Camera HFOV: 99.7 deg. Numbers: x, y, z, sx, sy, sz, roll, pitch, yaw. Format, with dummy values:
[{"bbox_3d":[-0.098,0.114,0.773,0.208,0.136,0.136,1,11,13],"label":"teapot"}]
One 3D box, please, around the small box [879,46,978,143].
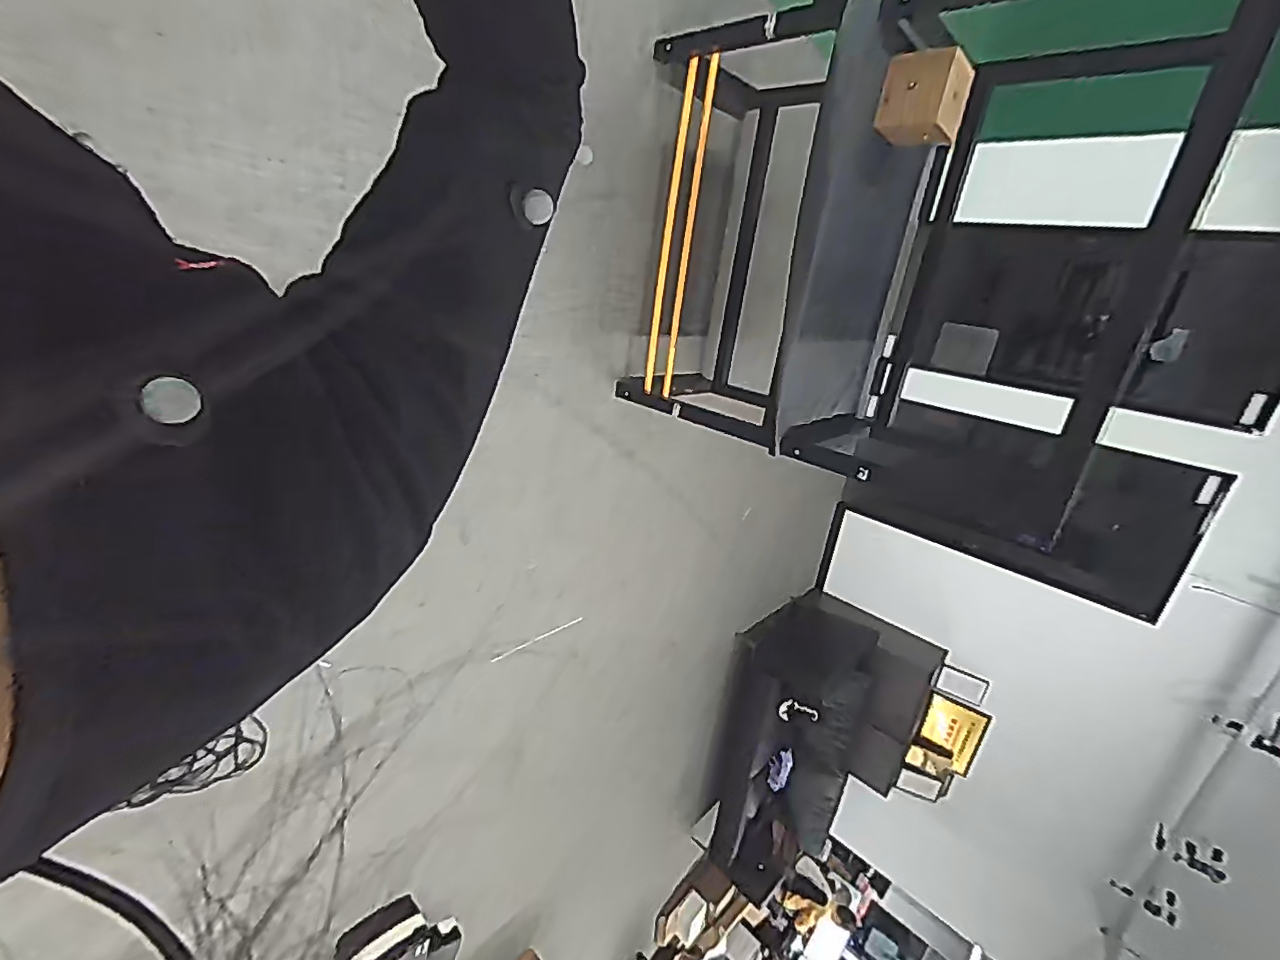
[{"bbox_3d":[0.769,-1.020,1.450,0.179,0.176,0.168,-12,119,-47],"label":"small box"}]
